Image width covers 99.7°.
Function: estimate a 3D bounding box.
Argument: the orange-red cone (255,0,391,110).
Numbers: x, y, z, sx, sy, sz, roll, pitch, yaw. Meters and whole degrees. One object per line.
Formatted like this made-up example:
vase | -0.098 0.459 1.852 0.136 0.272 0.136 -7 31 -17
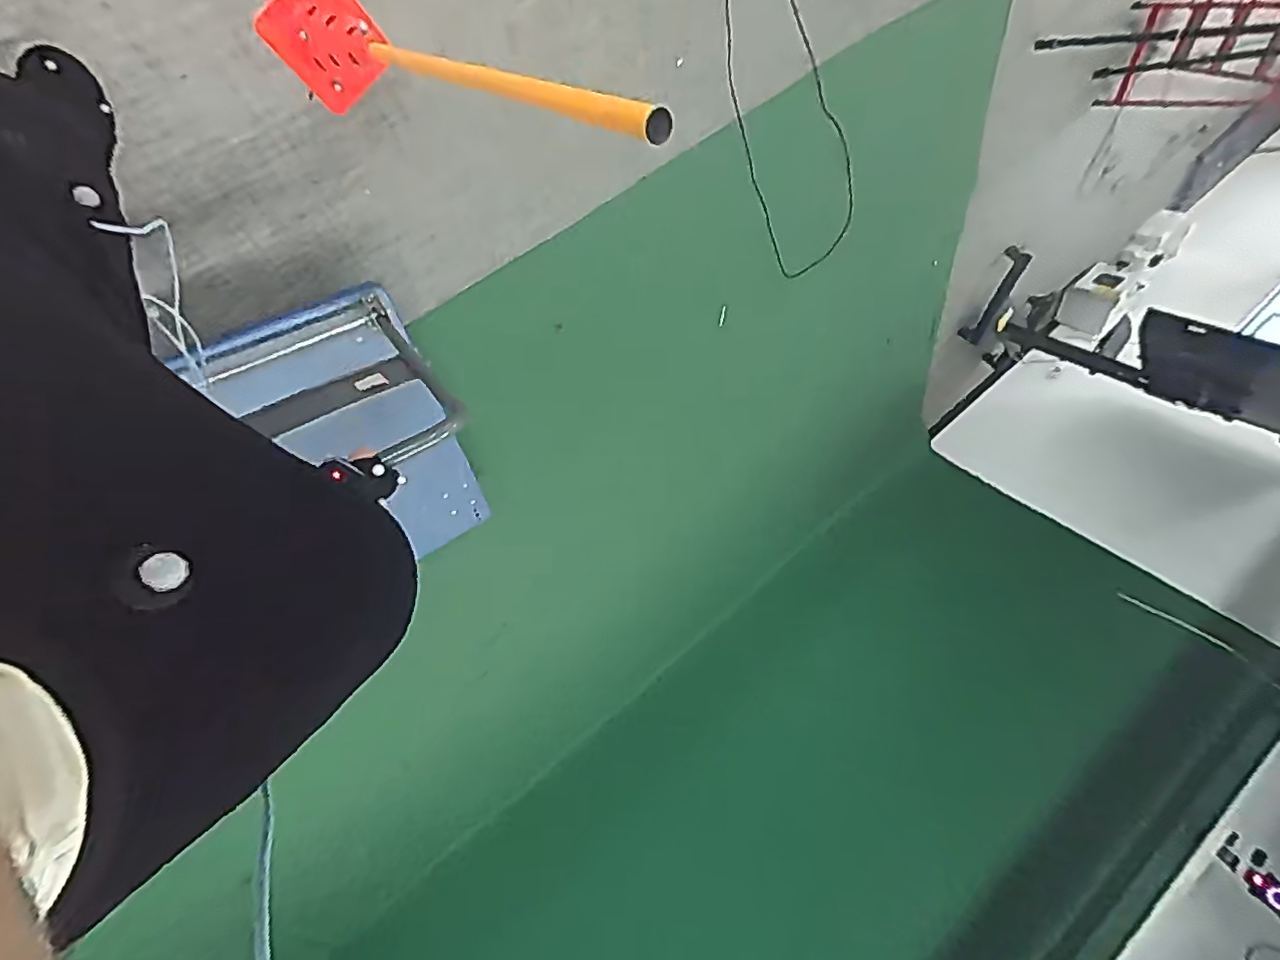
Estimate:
orange-red cone | -0.555 -0.836 1.031 0.199 0.360 0.198 -47 144 -1
